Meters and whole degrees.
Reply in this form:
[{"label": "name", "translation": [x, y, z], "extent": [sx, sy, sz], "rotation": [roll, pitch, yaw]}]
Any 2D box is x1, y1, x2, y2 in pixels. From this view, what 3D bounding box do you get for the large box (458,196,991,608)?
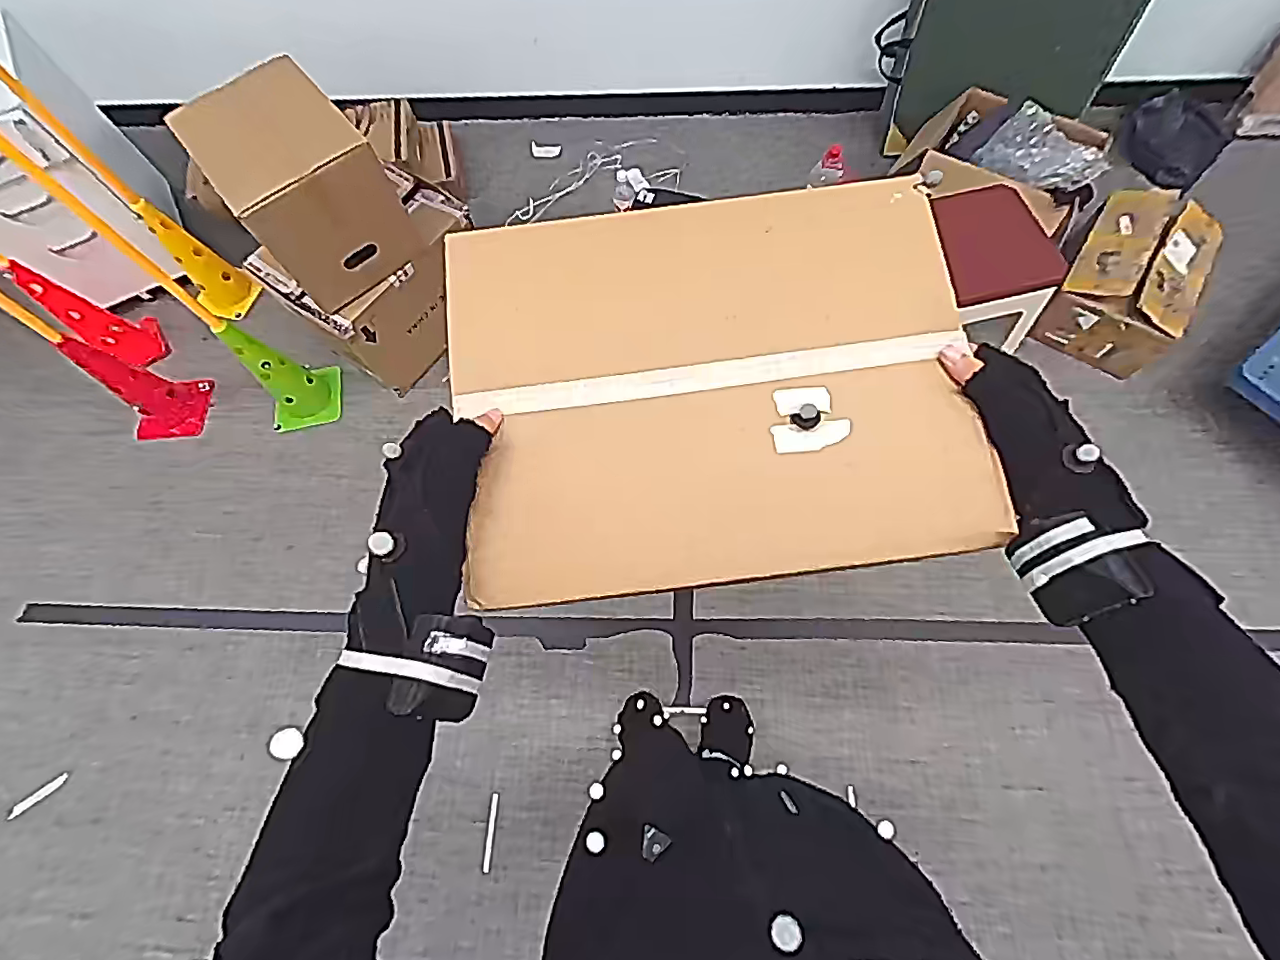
[{"label": "large box", "translation": [0.057, -0.045, 0.590], "extent": [0.408, 0.320, 0.320], "rotation": [-7, 78, 0]}]
